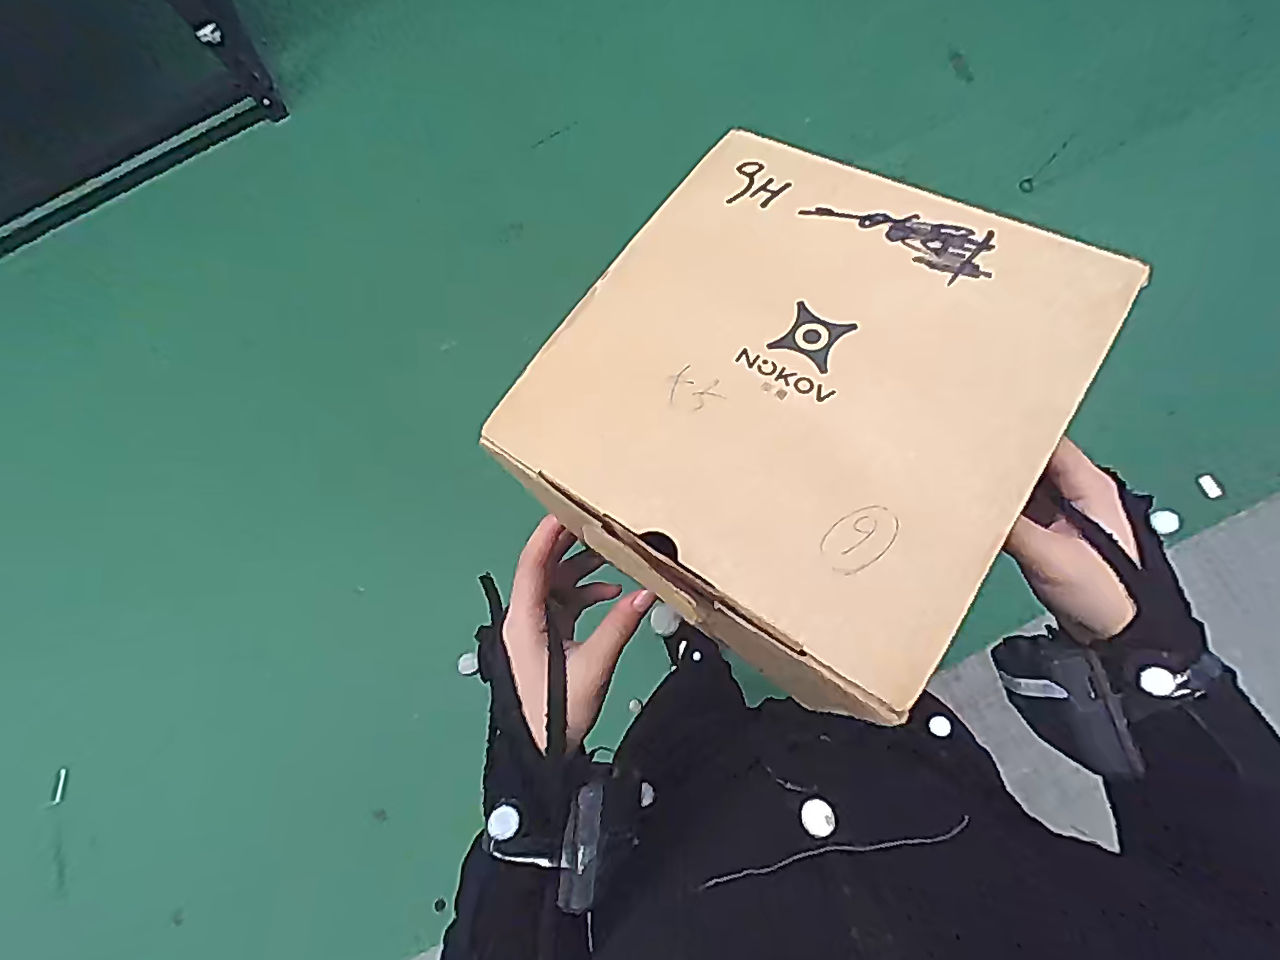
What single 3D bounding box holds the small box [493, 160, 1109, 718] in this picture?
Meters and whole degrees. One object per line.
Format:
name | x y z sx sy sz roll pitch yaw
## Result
small box | 0.067 -0.009 0.275 0.168 0.176 0.179 32 78 19
